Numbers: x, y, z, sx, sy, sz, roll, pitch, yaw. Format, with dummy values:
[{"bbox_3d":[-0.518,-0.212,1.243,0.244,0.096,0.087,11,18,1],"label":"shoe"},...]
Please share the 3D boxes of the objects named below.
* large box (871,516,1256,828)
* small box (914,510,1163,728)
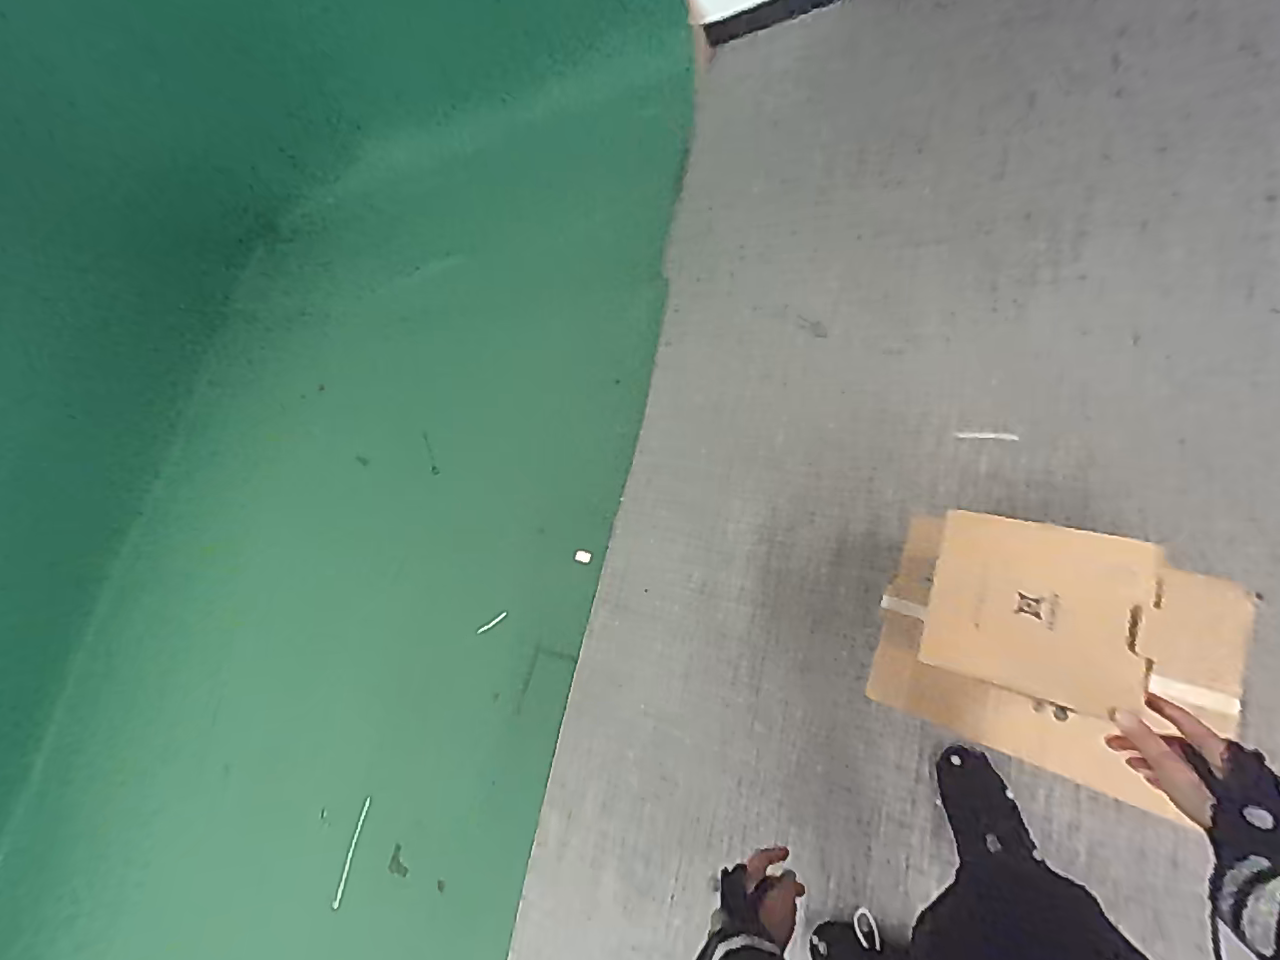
[{"bbox_3d":[0.640,0.279,0.892,0.408,0.320,0.320,14,82,32],"label":"large box"},{"bbox_3d":[0.411,0.144,0.582,0.179,0.176,0.168,10,78,33],"label":"small box"}]
